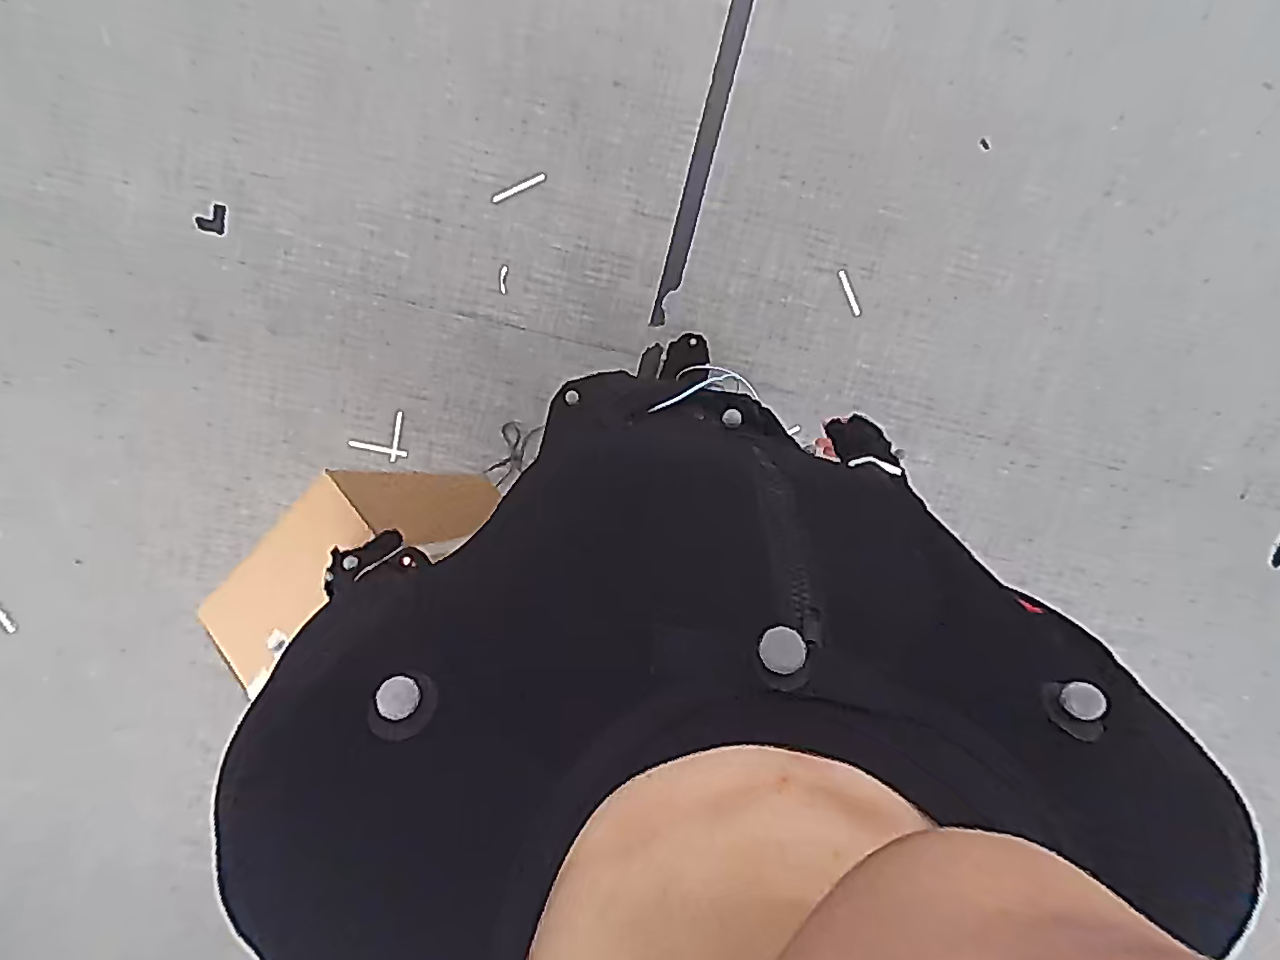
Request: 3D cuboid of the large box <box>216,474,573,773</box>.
[{"bbox_3d":[-0.387,0.206,0.941,0.320,0.408,0.320,-44,79,10],"label":"large box"}]
